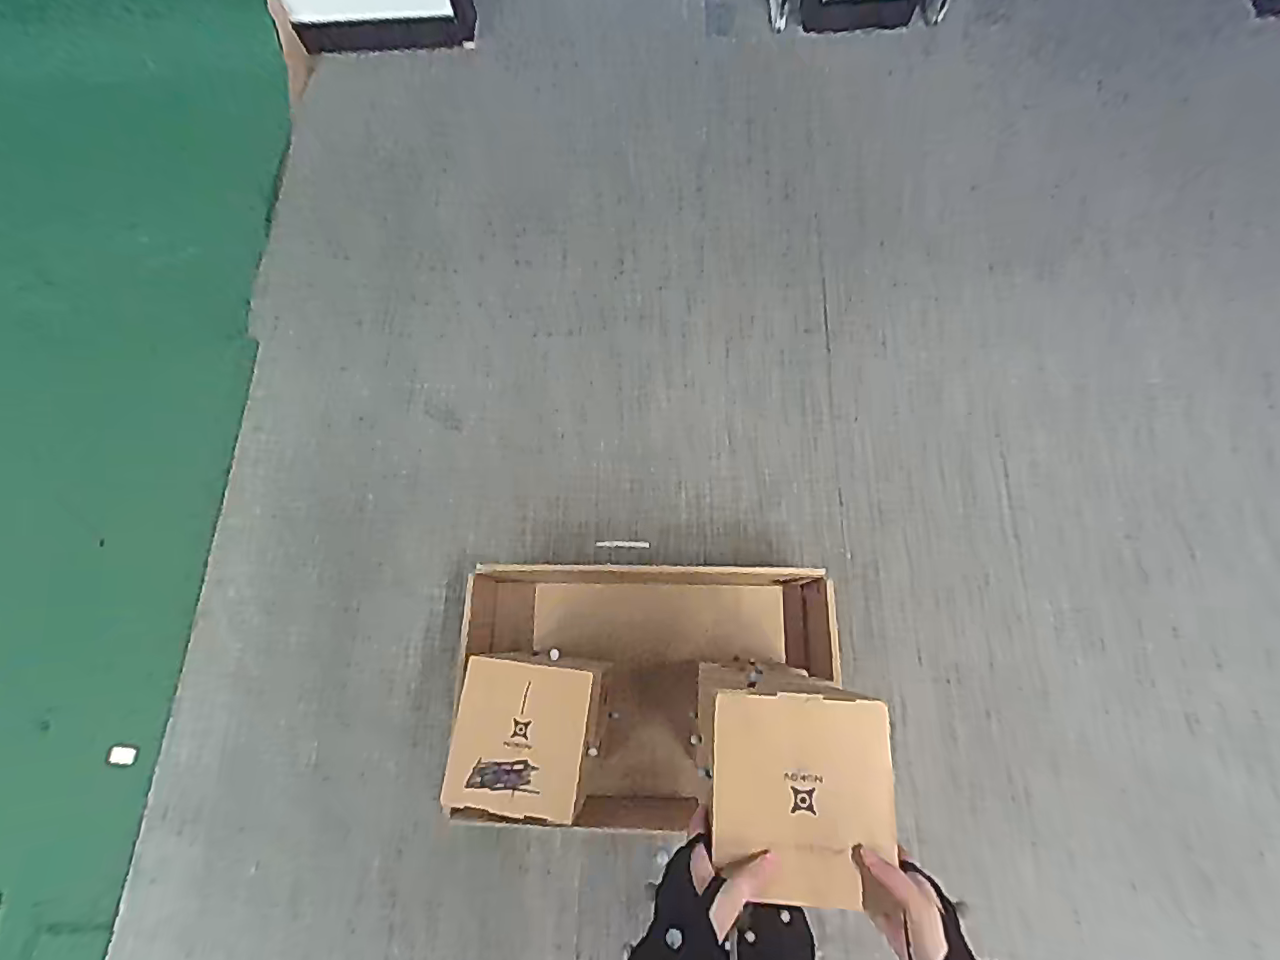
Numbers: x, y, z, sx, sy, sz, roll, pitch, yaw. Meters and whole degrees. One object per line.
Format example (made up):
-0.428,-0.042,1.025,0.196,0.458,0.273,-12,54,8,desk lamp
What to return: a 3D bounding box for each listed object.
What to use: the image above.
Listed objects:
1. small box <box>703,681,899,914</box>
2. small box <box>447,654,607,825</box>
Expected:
0.156,0.315,0.577,0.168,0.176,0.179,2,74,5,small box
-0.142,0.344,0.752,0.168,0.176,0.179,6,73,4,small box
